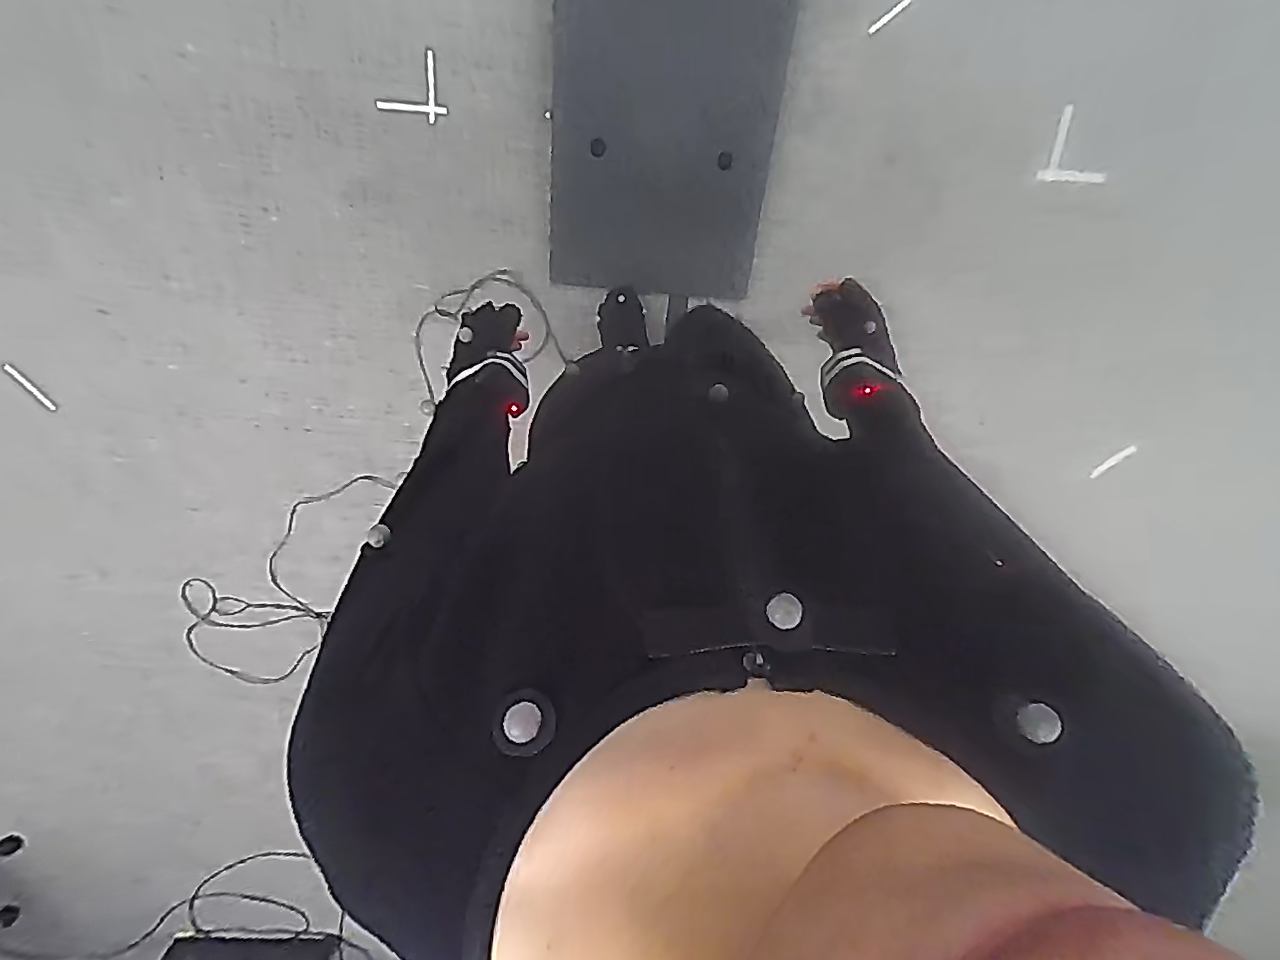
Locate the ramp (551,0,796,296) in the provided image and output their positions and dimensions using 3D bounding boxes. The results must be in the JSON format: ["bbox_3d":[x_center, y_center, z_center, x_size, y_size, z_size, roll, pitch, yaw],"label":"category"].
[{"bbox_3d":[0.066,-0.910,1.107,0.509,0.206,0.991,1,109,-4],"label":"ramp"}]
